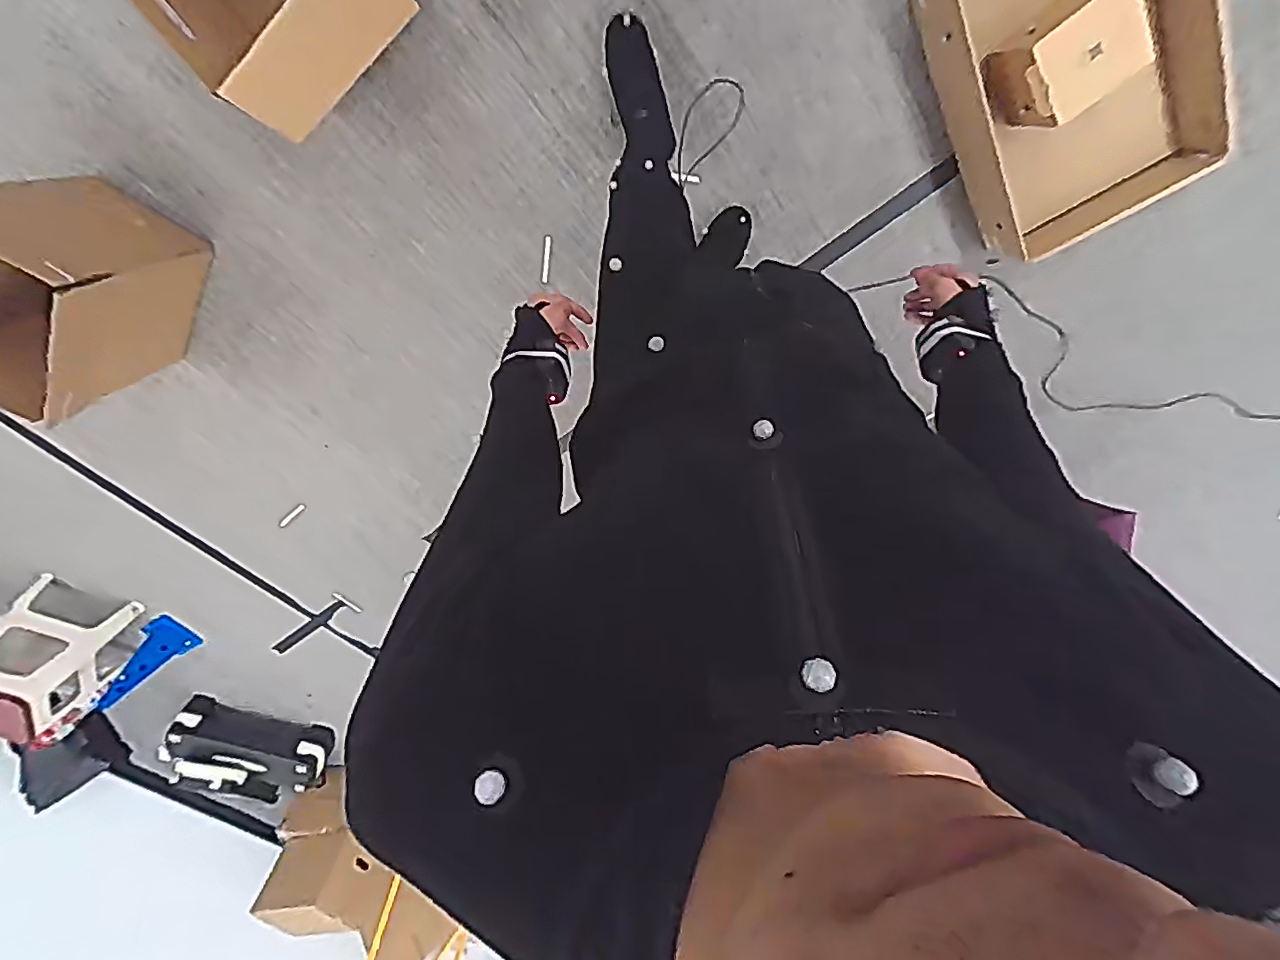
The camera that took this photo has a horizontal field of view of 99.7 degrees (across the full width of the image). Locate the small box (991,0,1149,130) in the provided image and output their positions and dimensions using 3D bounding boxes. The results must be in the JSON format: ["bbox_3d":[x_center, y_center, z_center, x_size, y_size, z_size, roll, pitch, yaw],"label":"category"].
[{"bbox_3d":[0.835,-0.831,1.071,0.179,0.176,0.168,-33,117,22],"label":"small box"}]
